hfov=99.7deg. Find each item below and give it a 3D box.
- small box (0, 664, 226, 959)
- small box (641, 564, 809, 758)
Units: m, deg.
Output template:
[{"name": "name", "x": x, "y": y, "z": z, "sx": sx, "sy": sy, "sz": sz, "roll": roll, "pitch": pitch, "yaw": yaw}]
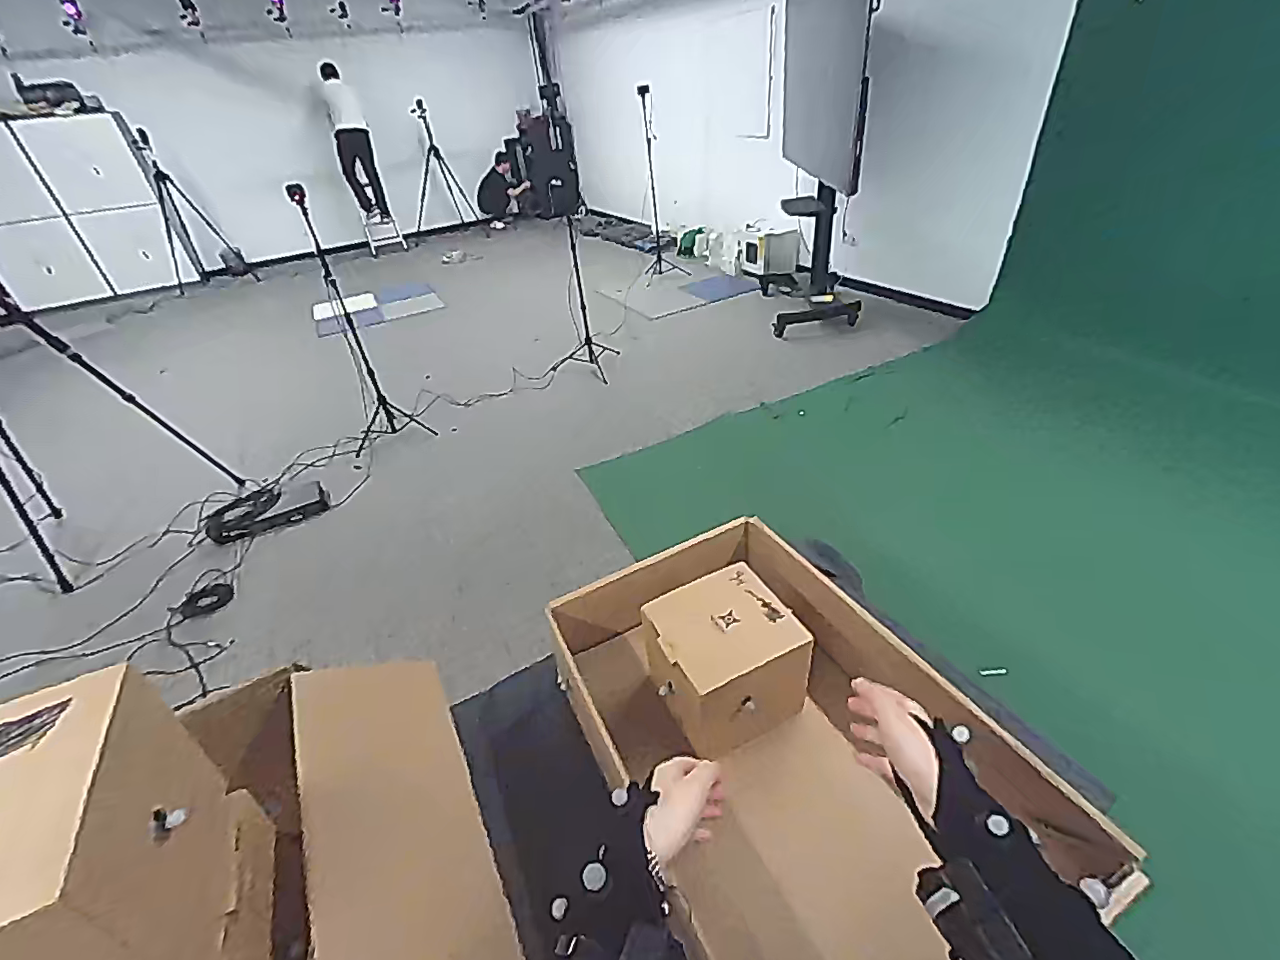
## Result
[{"name": "small box", "x": -0.399, "y": 0.264, "z": 0.348, "sx": 0.168, "sy": 0.176, "sz": 0.179, "roll": -18, "pitch": 36, "yaw": -24}, {"name": "small box", "x": 0.120, "y": 0.259, "z": 0.779, "sx": 0.179, "sy": 0.176, "sz": 0.168, "roll": -21, "pitch": 39, "yaw": -17}]
